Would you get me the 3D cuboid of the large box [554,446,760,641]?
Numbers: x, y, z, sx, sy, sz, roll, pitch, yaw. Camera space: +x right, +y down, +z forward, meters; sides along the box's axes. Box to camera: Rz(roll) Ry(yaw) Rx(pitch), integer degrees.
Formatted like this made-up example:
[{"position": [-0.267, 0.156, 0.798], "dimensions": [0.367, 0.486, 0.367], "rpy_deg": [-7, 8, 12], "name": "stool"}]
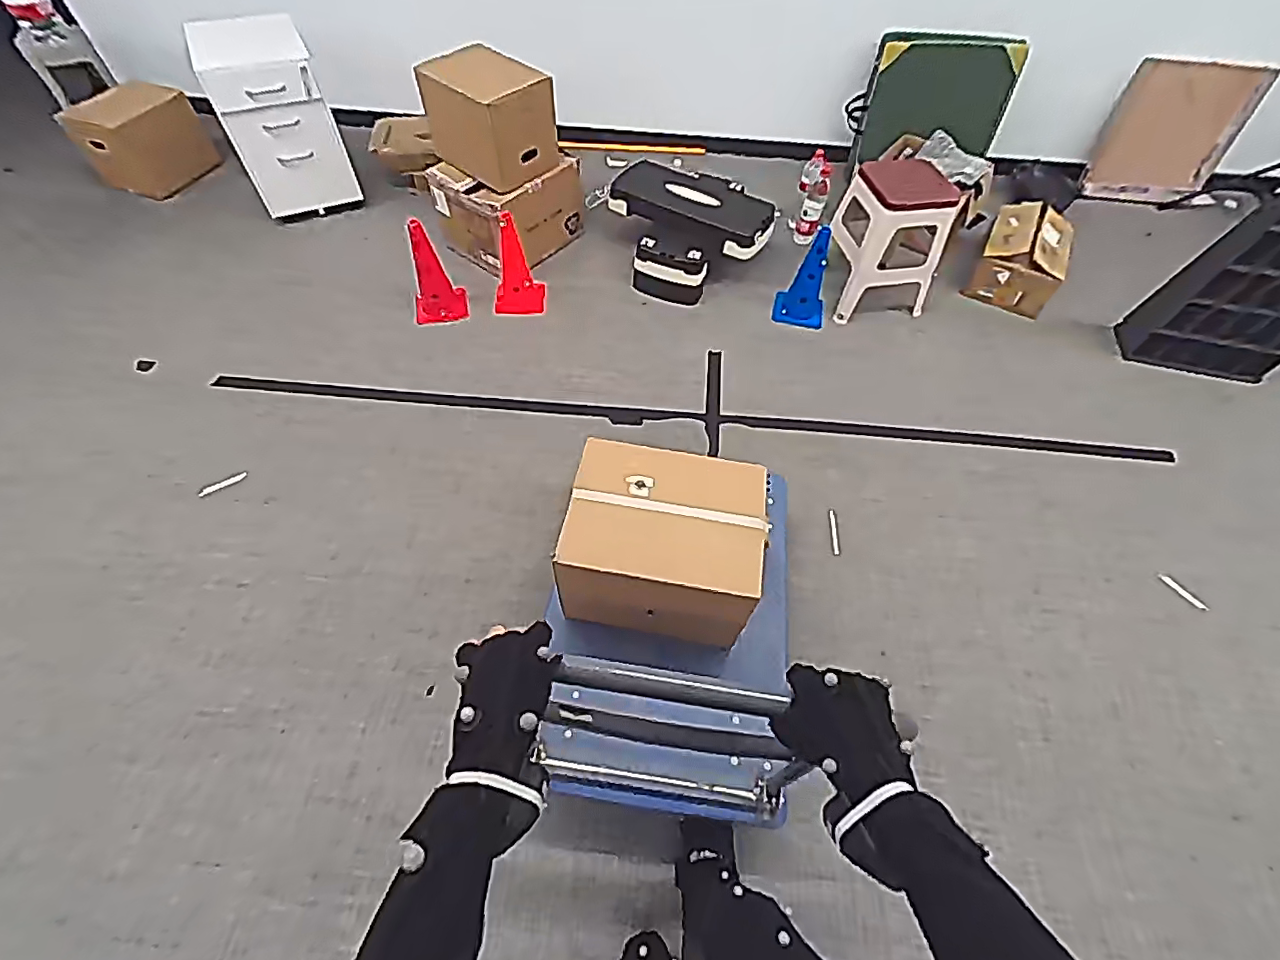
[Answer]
[{"position": [0.047, 0.155, 1.250], "dimensions": [0.408, 0.320, 0.320], "rpy_deg": [9, 56, 4], "name": "large box"}]
